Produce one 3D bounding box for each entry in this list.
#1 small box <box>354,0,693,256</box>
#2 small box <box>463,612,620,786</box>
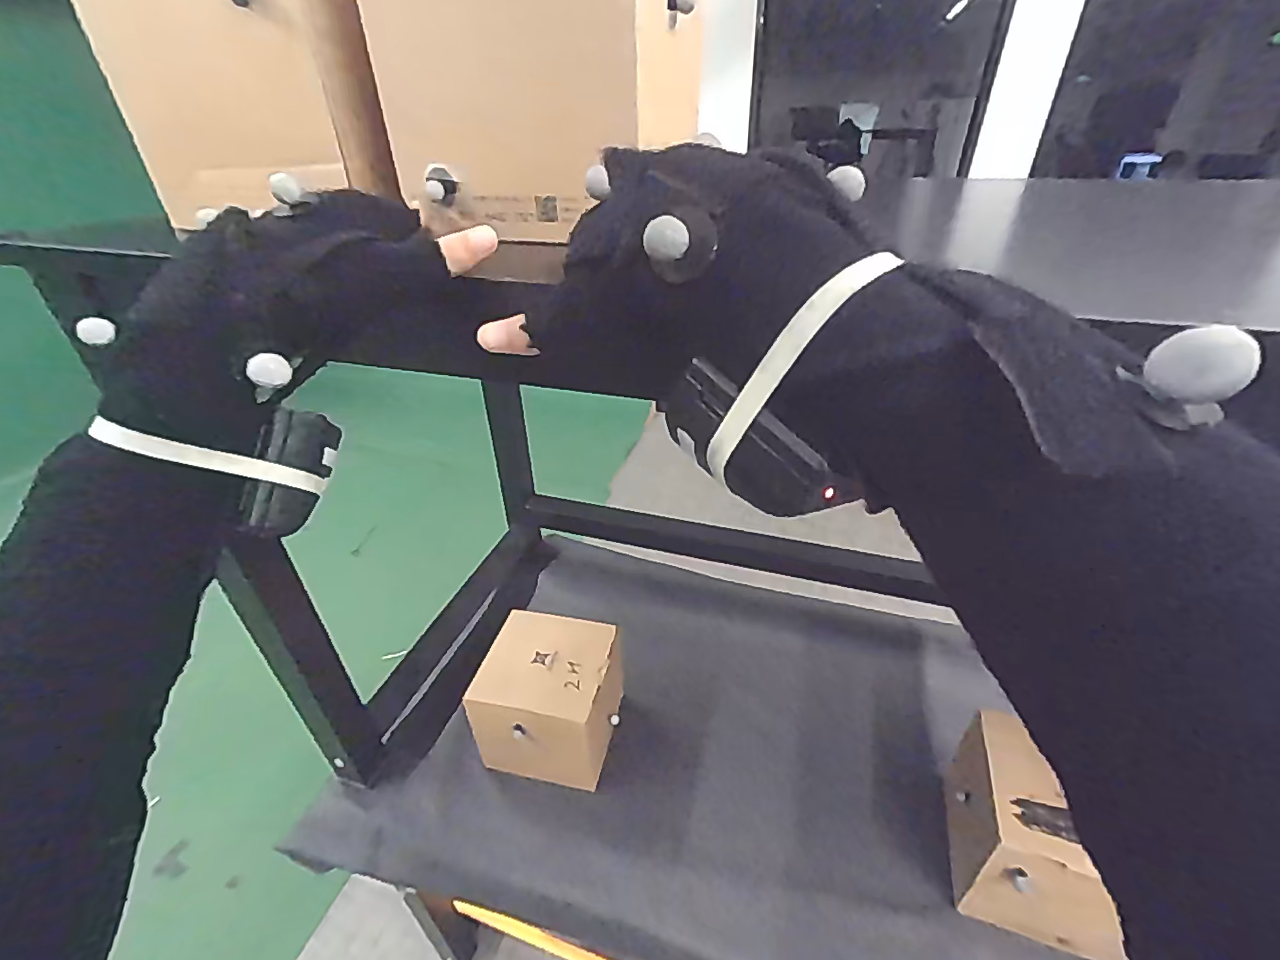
[{"bbox_3d":[-0.058,-0.260,0.378,0.168,0.176,0.179,8,33,14],"label":"small box"},{"bbox_3d":[-0.135,0.328,0.814,0.179,0.176,0.168,7,34,11],"label":"small box"}]
